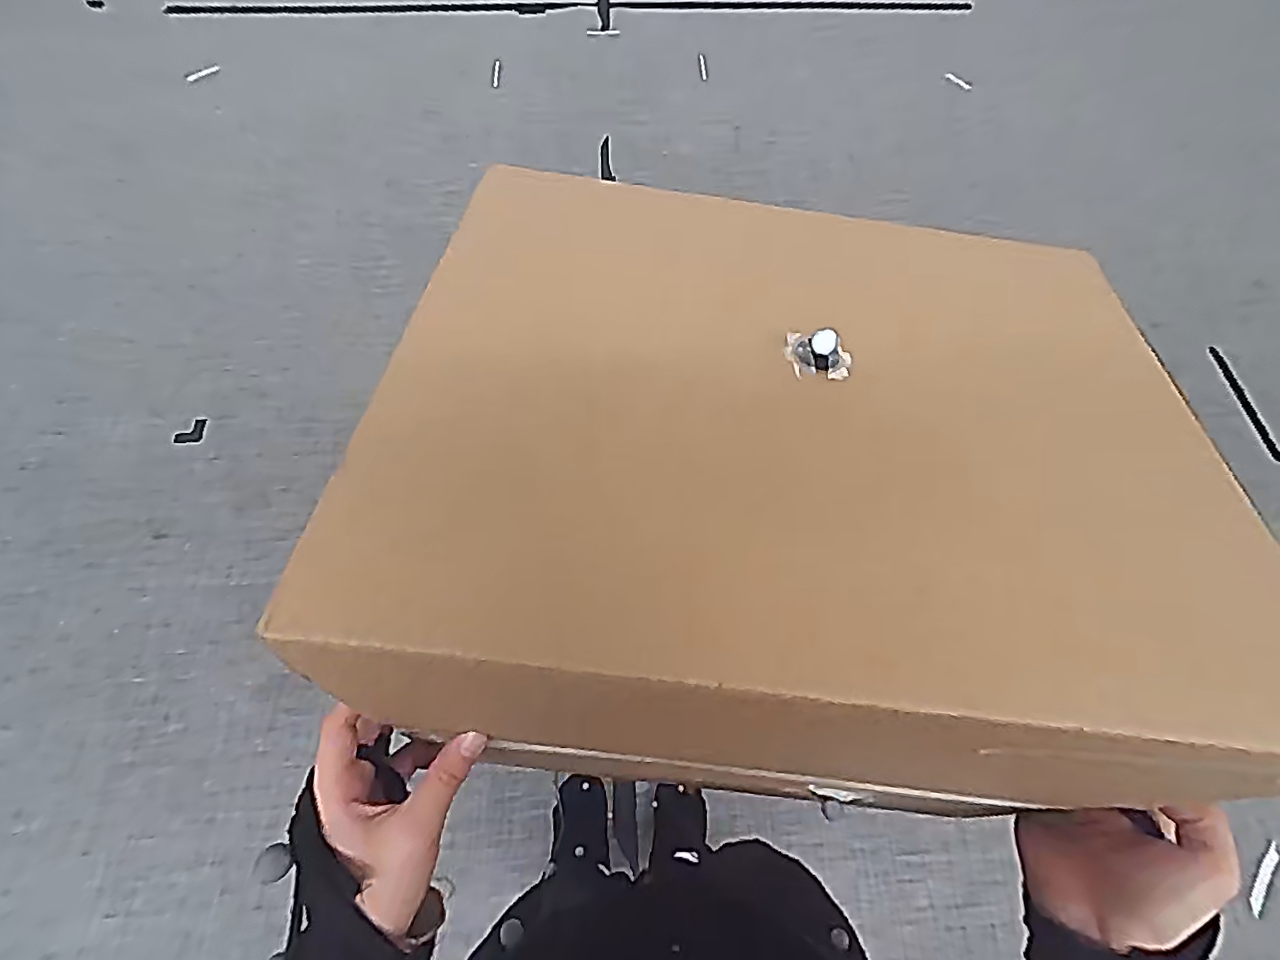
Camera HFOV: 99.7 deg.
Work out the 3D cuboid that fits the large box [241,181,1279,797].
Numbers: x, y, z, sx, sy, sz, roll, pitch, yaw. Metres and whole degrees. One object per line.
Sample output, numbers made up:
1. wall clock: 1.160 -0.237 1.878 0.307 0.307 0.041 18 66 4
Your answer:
1. large box: 0.058 0.028 0.390 0.408 0.320 0.320 5 58 -1
